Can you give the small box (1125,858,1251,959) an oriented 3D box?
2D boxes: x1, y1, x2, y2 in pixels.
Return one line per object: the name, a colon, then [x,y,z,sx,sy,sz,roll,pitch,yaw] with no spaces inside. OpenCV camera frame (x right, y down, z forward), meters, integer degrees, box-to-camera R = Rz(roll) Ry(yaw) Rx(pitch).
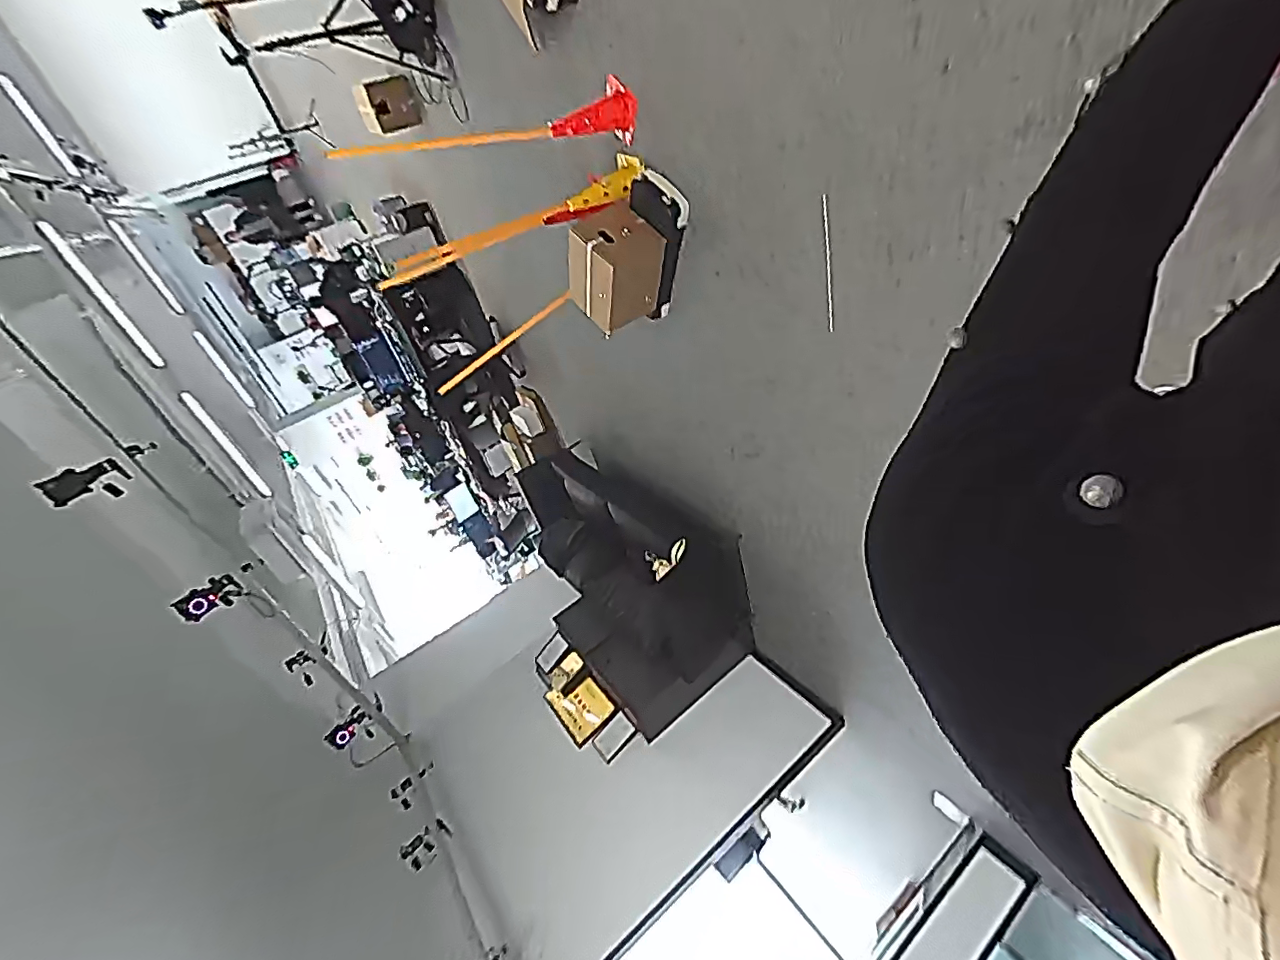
small box: [1.450,1.159,1.433,0.168,0.176,0.179,35,148,46]
